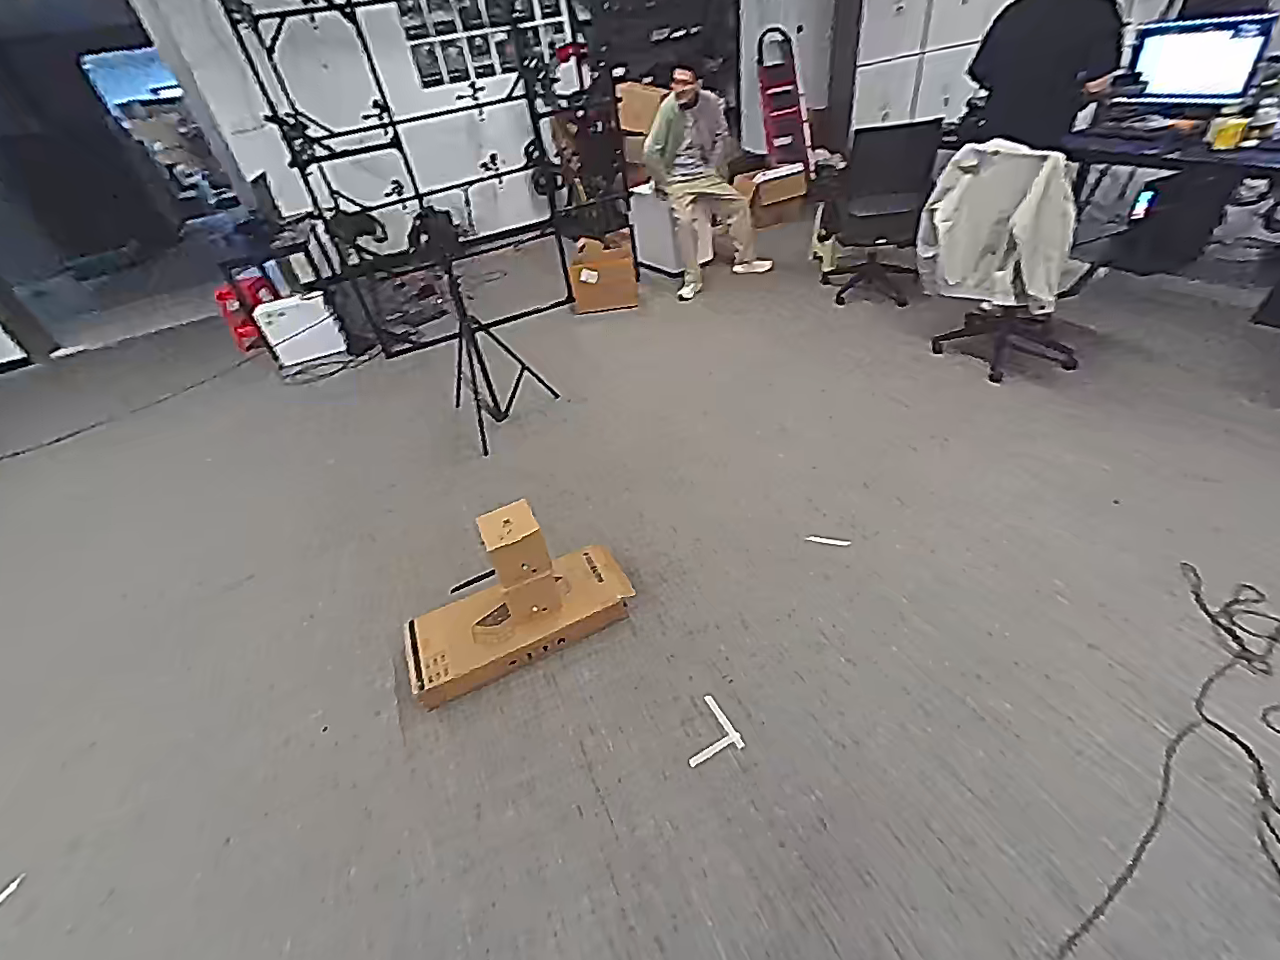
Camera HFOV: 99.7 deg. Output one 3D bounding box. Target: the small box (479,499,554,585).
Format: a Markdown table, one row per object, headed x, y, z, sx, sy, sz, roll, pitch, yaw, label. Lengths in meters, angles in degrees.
| x | y | z | sx | sy | sz | roll | pitch | yaw | label |
| --- | --- | --- | --- | --- | --- | --- | --- | --- | --- |
| -0.388 | 0.195 | 1.703 | 0.168 | 0.176 | 0.179 | -23 | 40 | -15 | small box |

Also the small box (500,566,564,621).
| x | y | z | sx | sy | sz | roll | pitch | yaw | label |
| --- | --- | --- | --- | --- | --- | --- | --- | --- | --- |
| -0.364 | 0.332 | 1.794 | 0.168 | 0.176 | 0.179 | -20 | 40 | -12 | small box |
